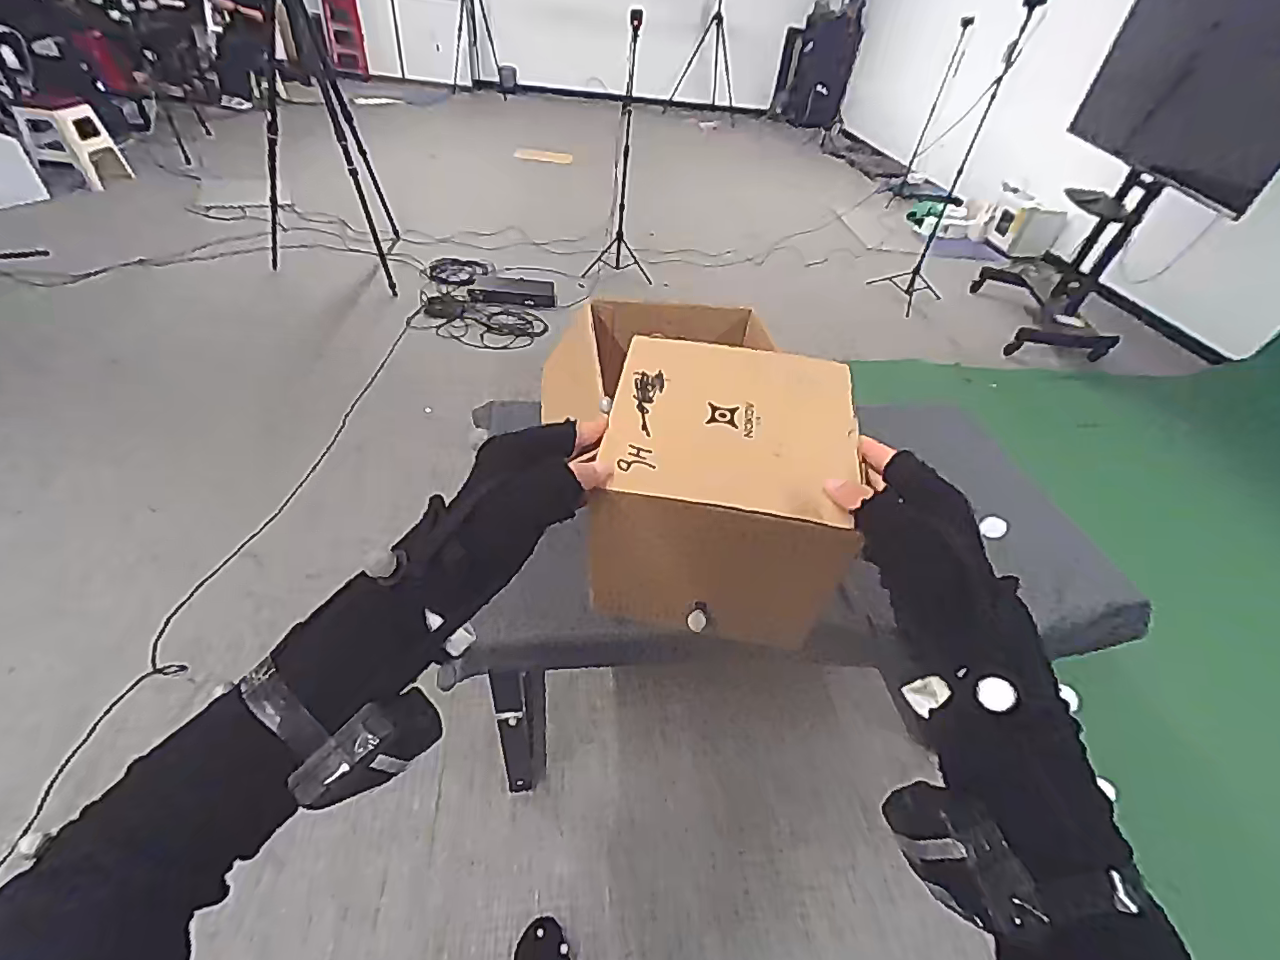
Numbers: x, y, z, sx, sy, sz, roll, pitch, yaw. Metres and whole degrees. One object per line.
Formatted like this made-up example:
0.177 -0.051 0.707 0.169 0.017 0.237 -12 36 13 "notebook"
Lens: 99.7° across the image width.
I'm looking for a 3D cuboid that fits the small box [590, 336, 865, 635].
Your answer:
0.061 0.010 0.447 0.179 0.176 0.168 10 49 4 "small box"
